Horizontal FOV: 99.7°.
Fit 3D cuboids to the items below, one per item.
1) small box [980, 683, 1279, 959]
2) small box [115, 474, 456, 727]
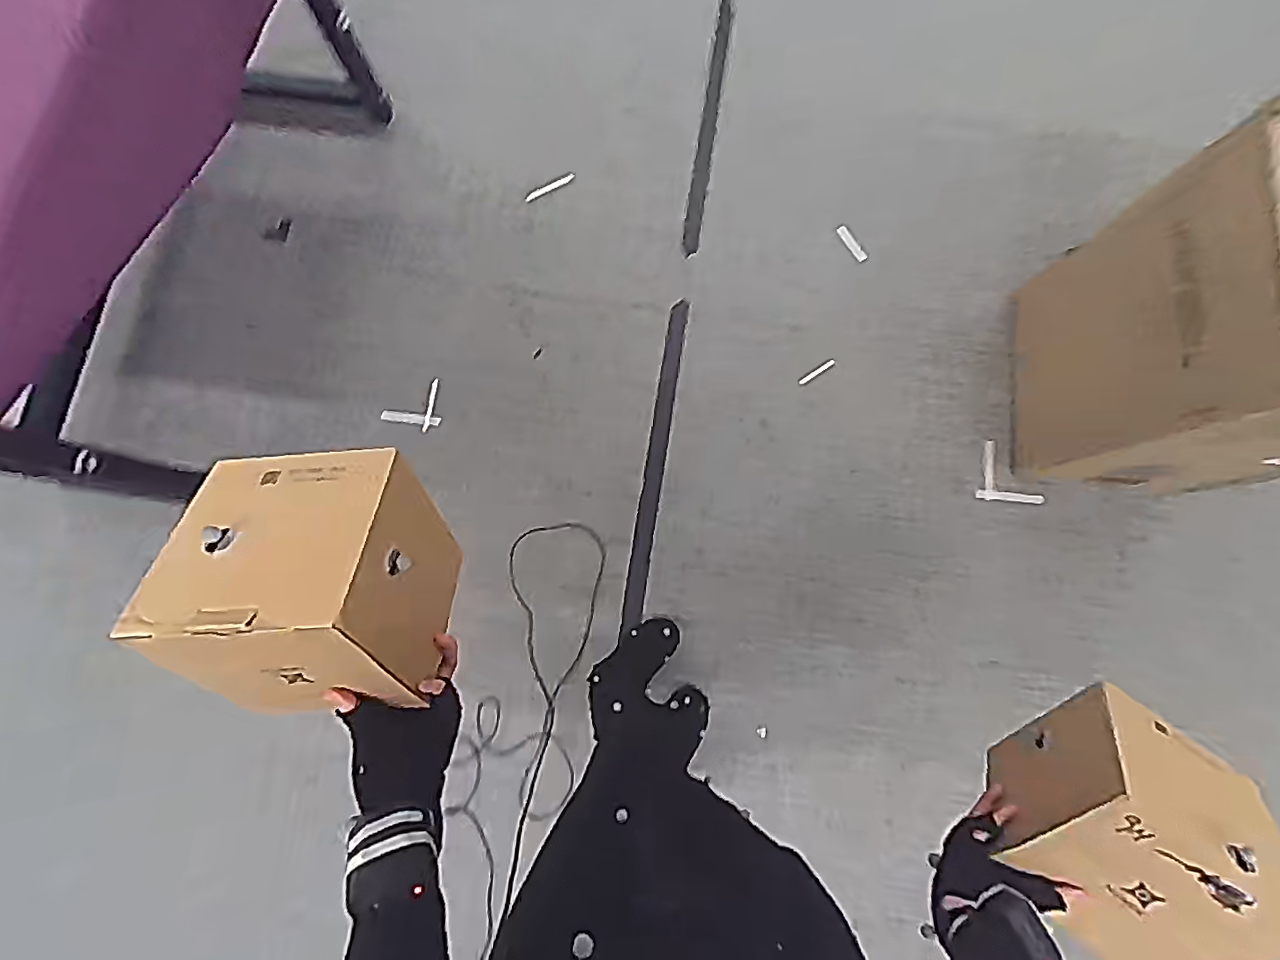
[{"bbox_3d":[0.494,0.354,0.562,0.168,0.176,0.179,39,126,15],"label":"small box"},{"bbox_3d":[-0.286,0.106,0.491,0.168,0.179,0.176,-5,50,3],"label":"small box"}]
